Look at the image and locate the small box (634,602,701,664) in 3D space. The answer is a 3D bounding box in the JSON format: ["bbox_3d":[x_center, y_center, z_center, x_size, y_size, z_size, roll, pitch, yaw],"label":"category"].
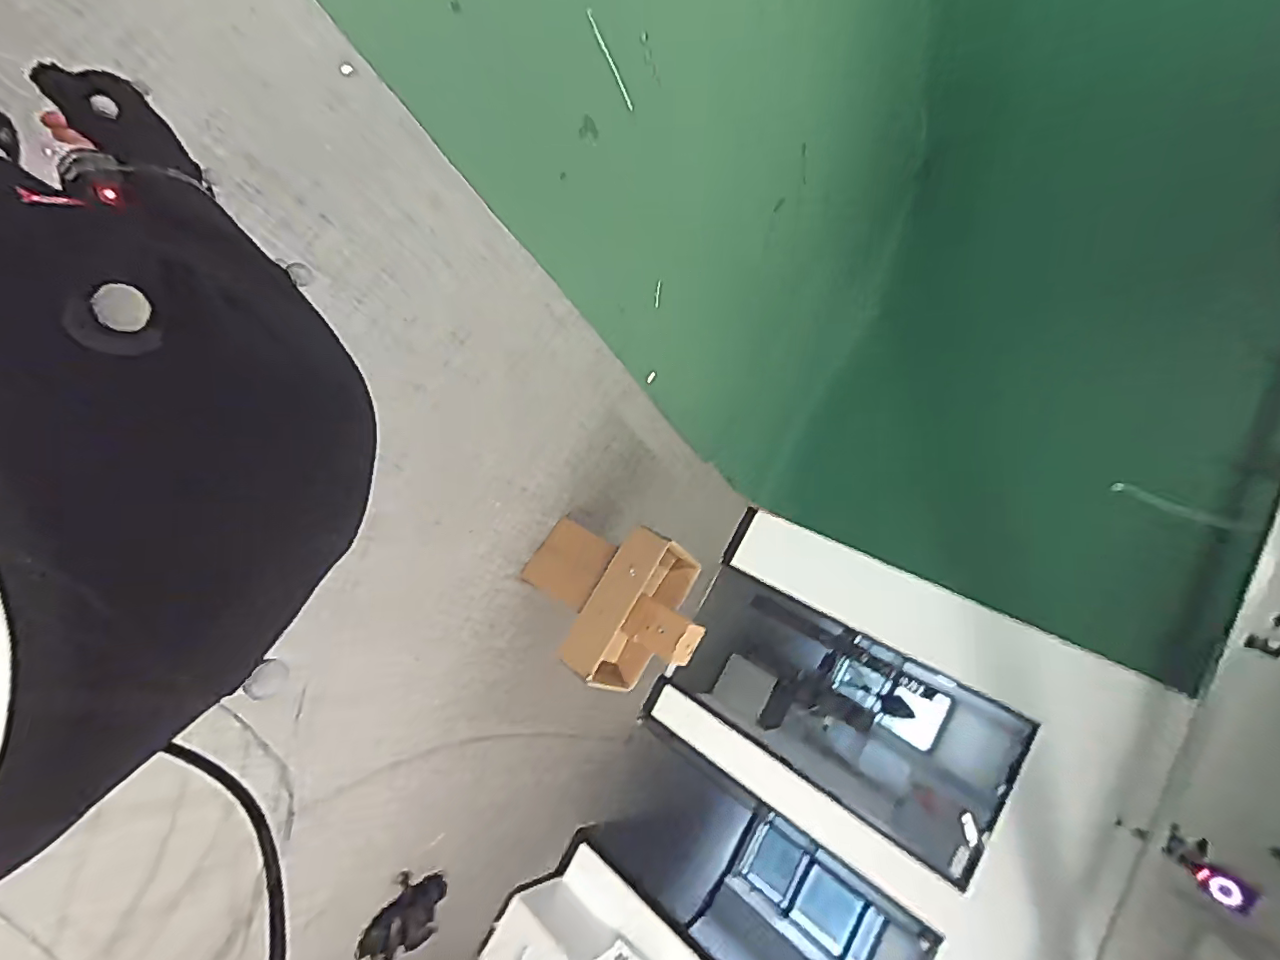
[{"bbox_3d":[0.105,0.597,2.118,0.168,0.176,0.179,-59,147,-7],"label":"small box"}]

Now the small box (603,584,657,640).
[{"bbox_3d":[-0.024,0.542,2.202,0.168,0.176,0.179,-60,149,-7],"label":"small box"}]
